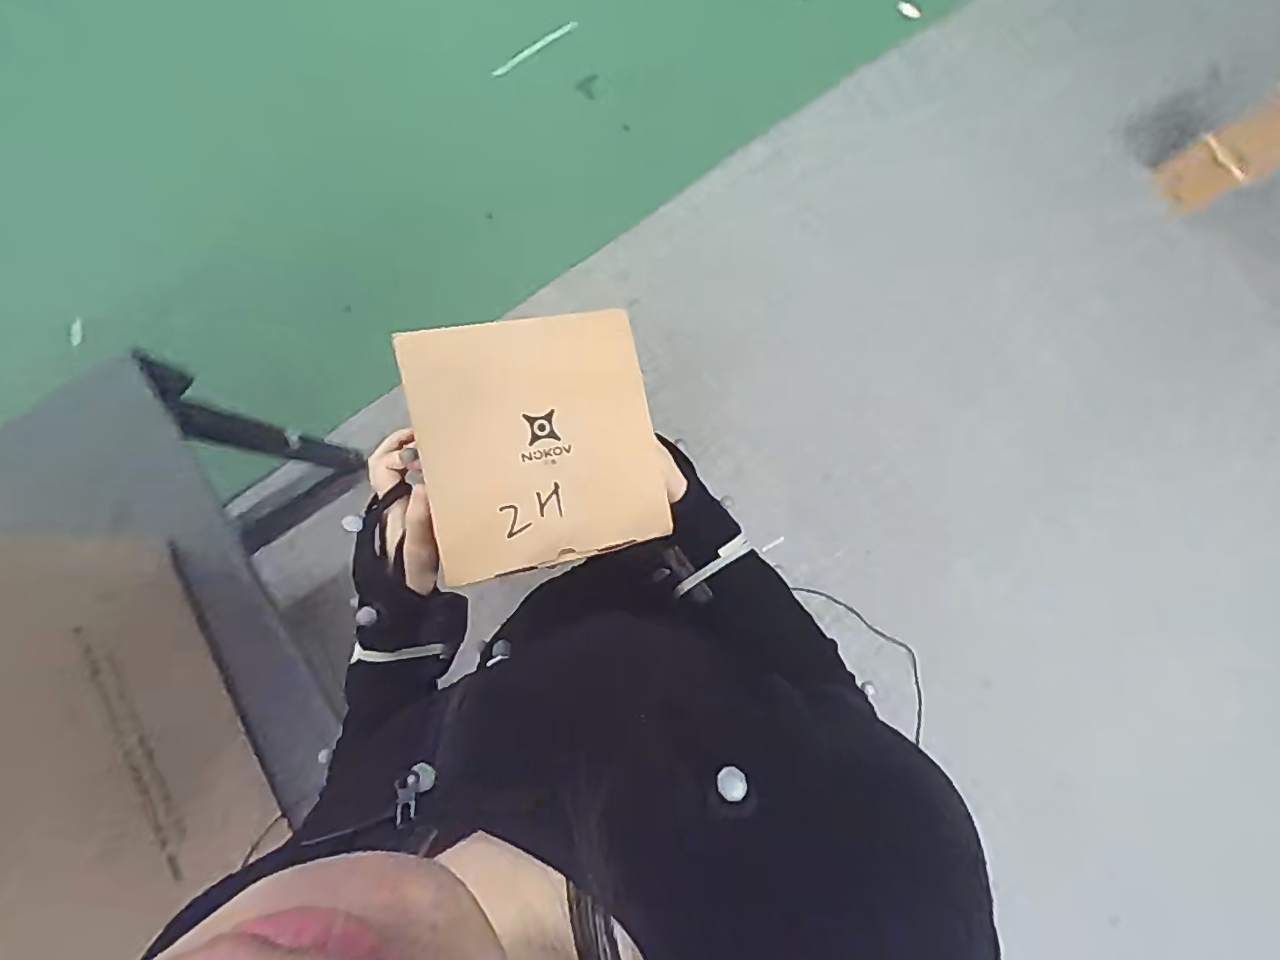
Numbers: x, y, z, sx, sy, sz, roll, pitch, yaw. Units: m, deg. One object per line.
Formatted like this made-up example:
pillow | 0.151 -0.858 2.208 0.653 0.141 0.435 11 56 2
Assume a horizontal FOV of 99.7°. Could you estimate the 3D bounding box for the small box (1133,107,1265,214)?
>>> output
small box | 1.621 -0.923 1.578 0.179 0.176 0.168 -31 85 -3
